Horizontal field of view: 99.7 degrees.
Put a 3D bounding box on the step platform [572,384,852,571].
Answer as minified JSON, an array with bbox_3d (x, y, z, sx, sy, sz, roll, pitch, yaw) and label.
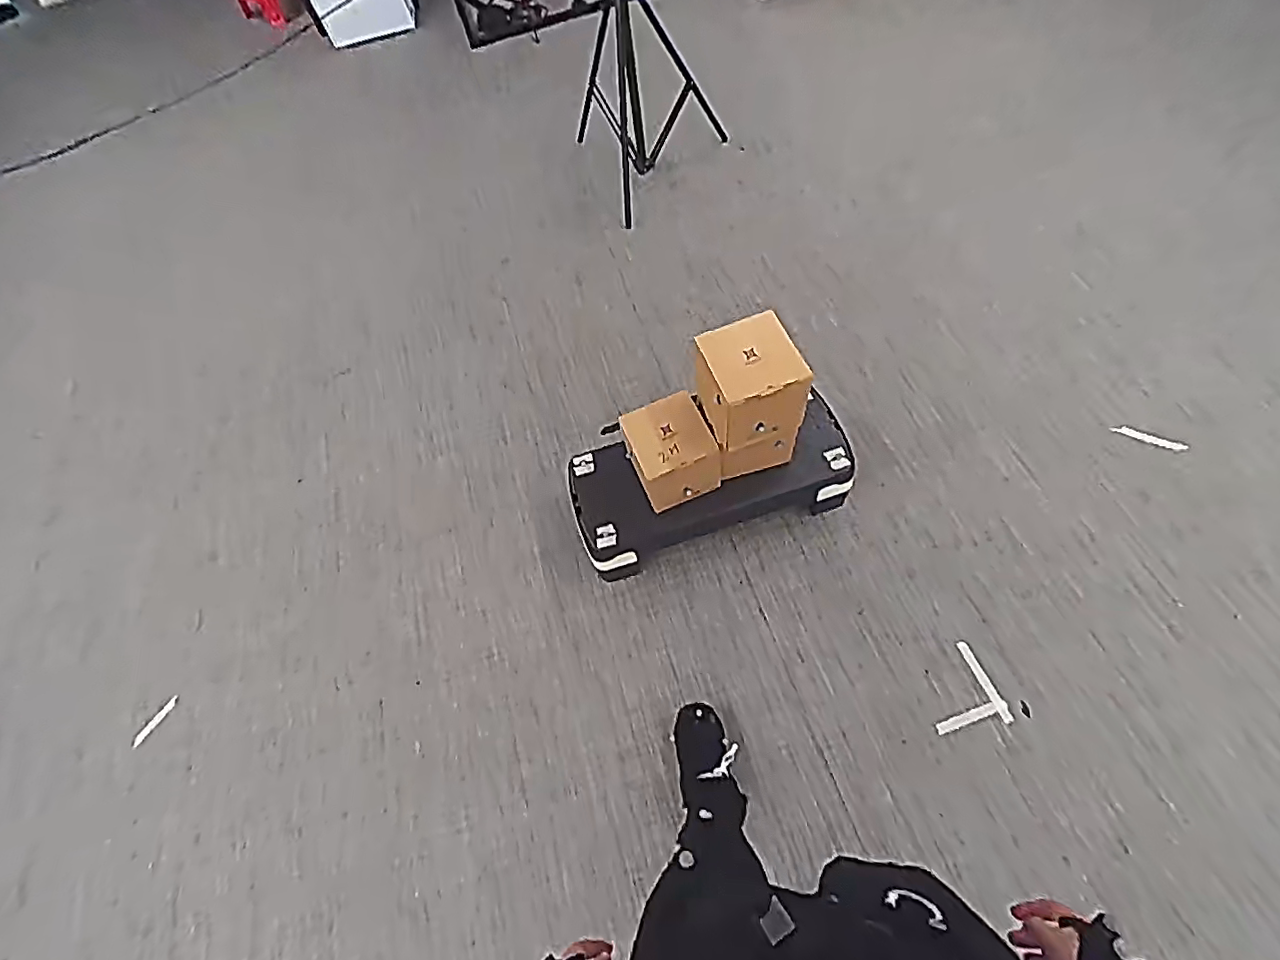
[{"bbox_3d":[0.173,-0.014,1.379,0.684,0.204,0.286,-19,61,-1],"label":"step platform"}]

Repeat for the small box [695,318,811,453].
[{"bbox_3d":[0.215,-0.184,1.080,0.168,0.176,0.179,-20,62,-3],"label":"small box"}]
